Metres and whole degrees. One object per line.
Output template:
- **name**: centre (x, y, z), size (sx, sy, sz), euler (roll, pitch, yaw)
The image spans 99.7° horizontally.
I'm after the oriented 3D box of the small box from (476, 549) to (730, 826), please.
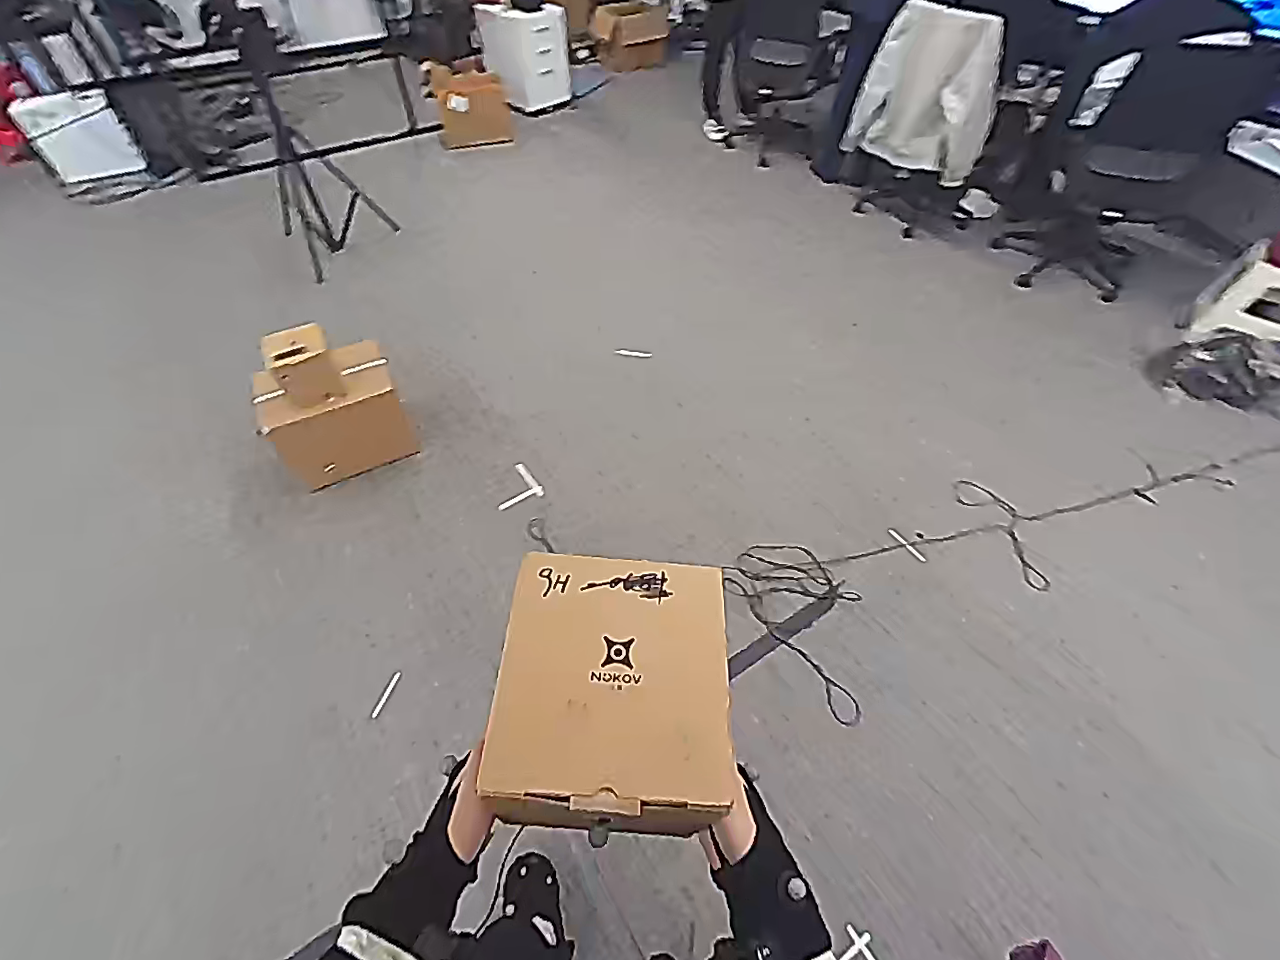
- **small box**: centre (-0.026, 0.179, 0.453), size (0.168, 0.176, 0.179), euler (6, 52, -4)
